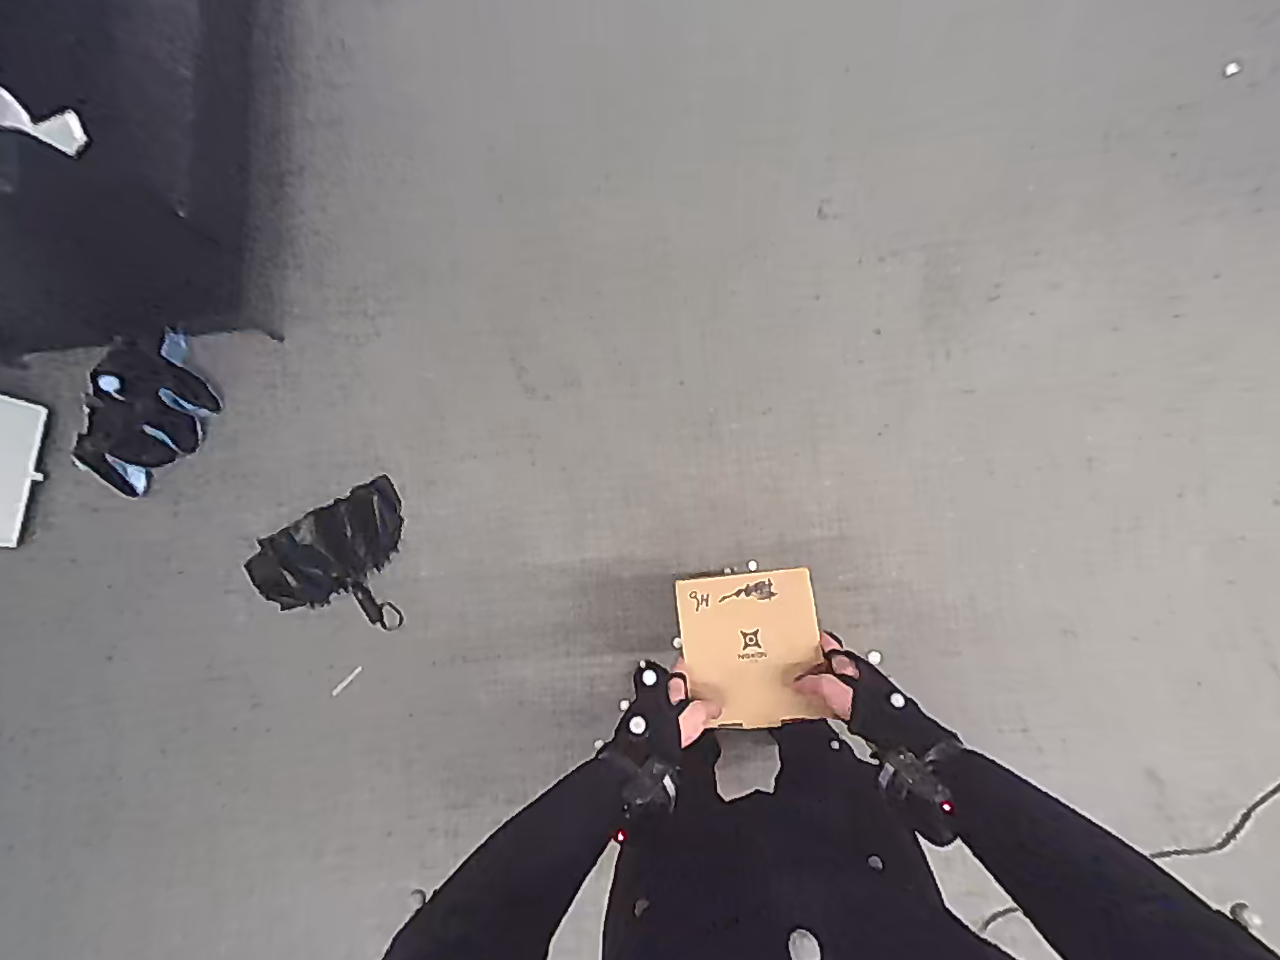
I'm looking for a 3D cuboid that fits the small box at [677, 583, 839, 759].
[{"bbox_3d":[0.143,0.233,0.696,0.168,0.176,0.179,-8,81,5],"label":"small box"}]
